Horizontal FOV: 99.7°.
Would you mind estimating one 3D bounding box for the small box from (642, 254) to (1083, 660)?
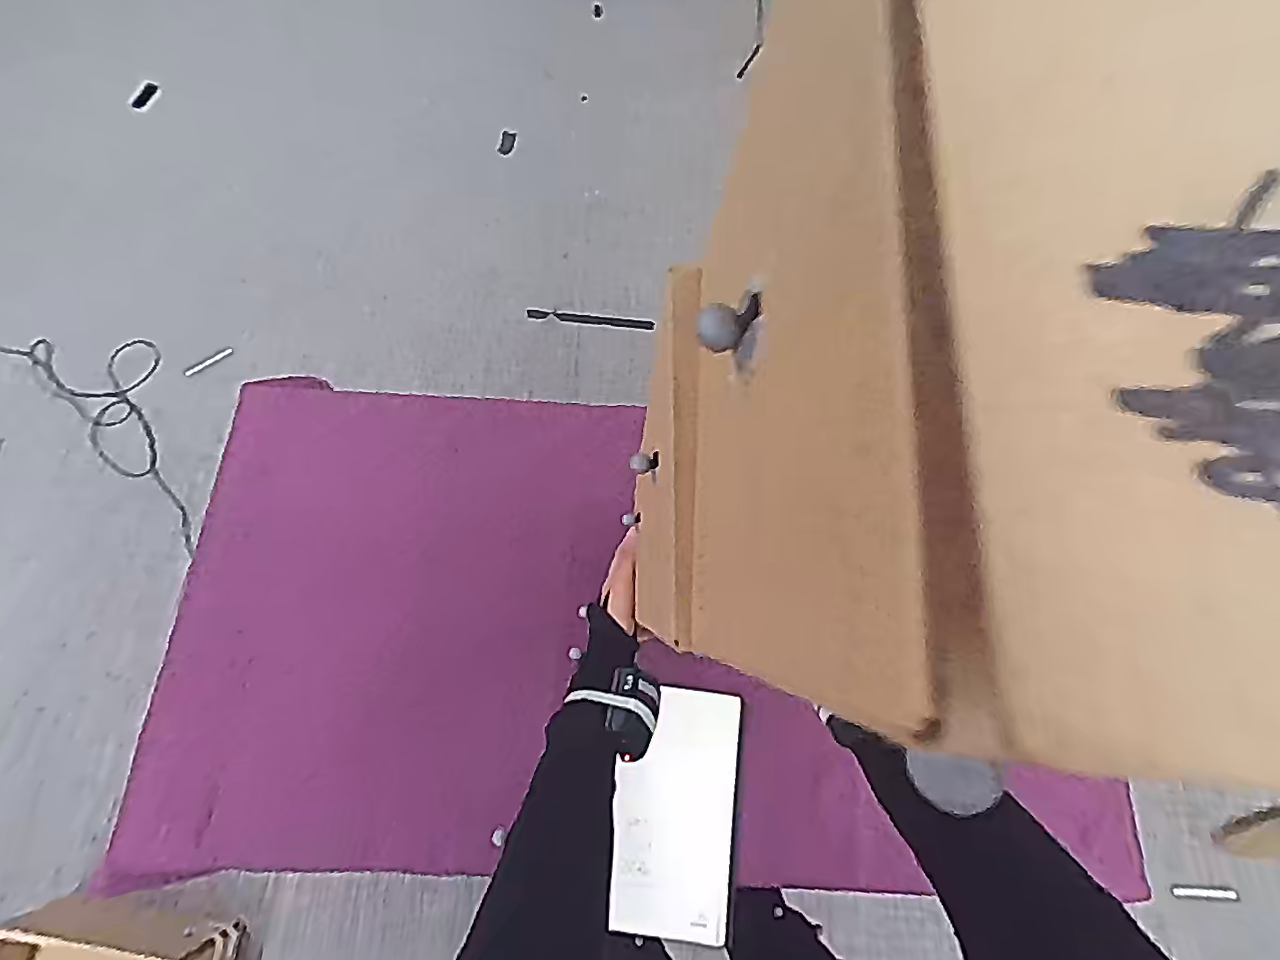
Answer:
[{"bbox_3d":[0.089,0.002,0.305,0.168,0.176,0.179,1,76,-3],"label":"small box"}]
